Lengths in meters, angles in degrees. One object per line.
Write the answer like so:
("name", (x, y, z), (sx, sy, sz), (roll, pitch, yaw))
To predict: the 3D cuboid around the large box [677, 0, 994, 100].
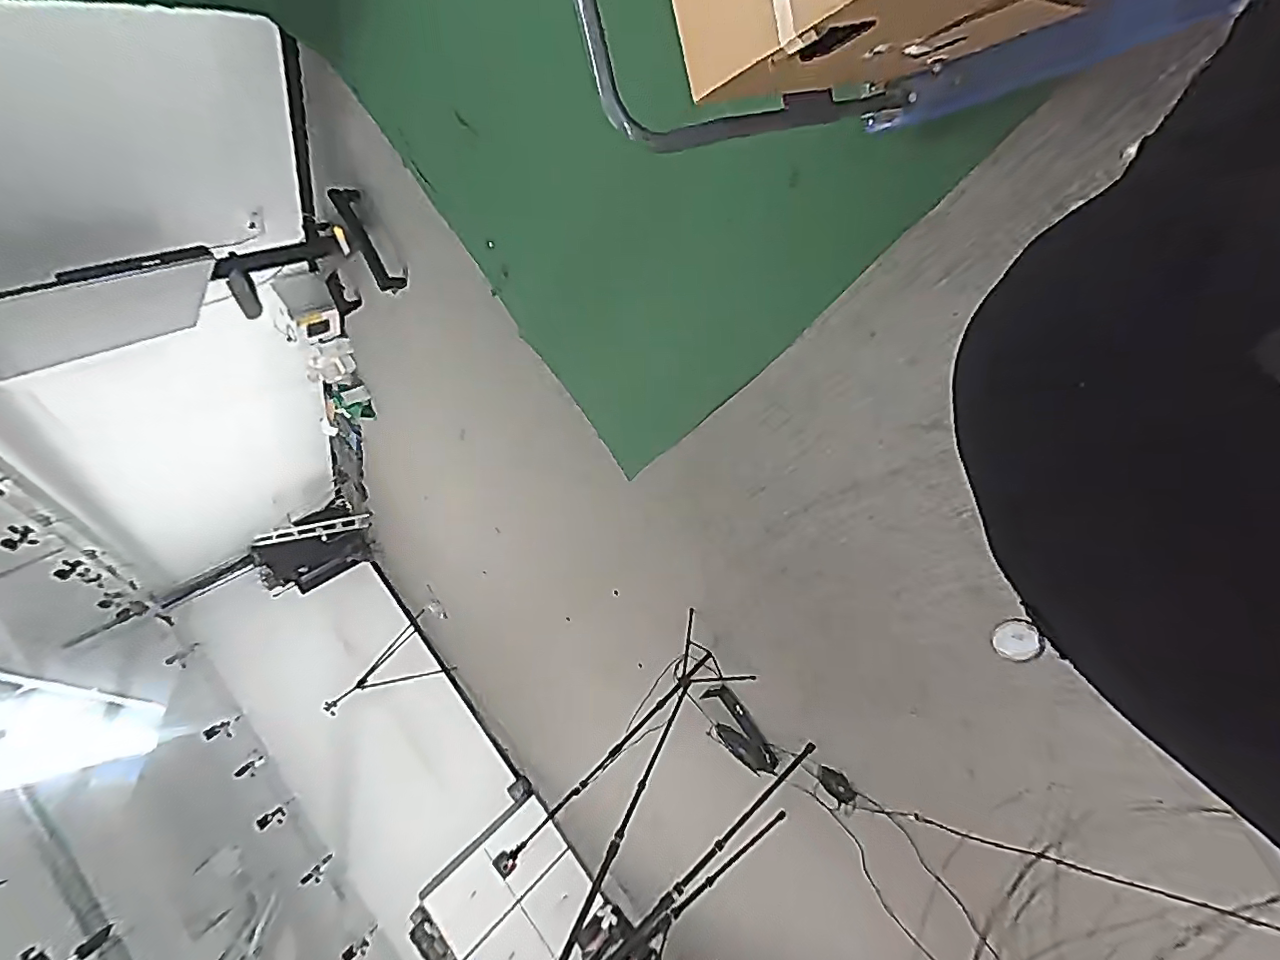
("large box", (0.226, -0.720, 0.600), (0.320, 0.320, 0.408), (11, 124, 52))
